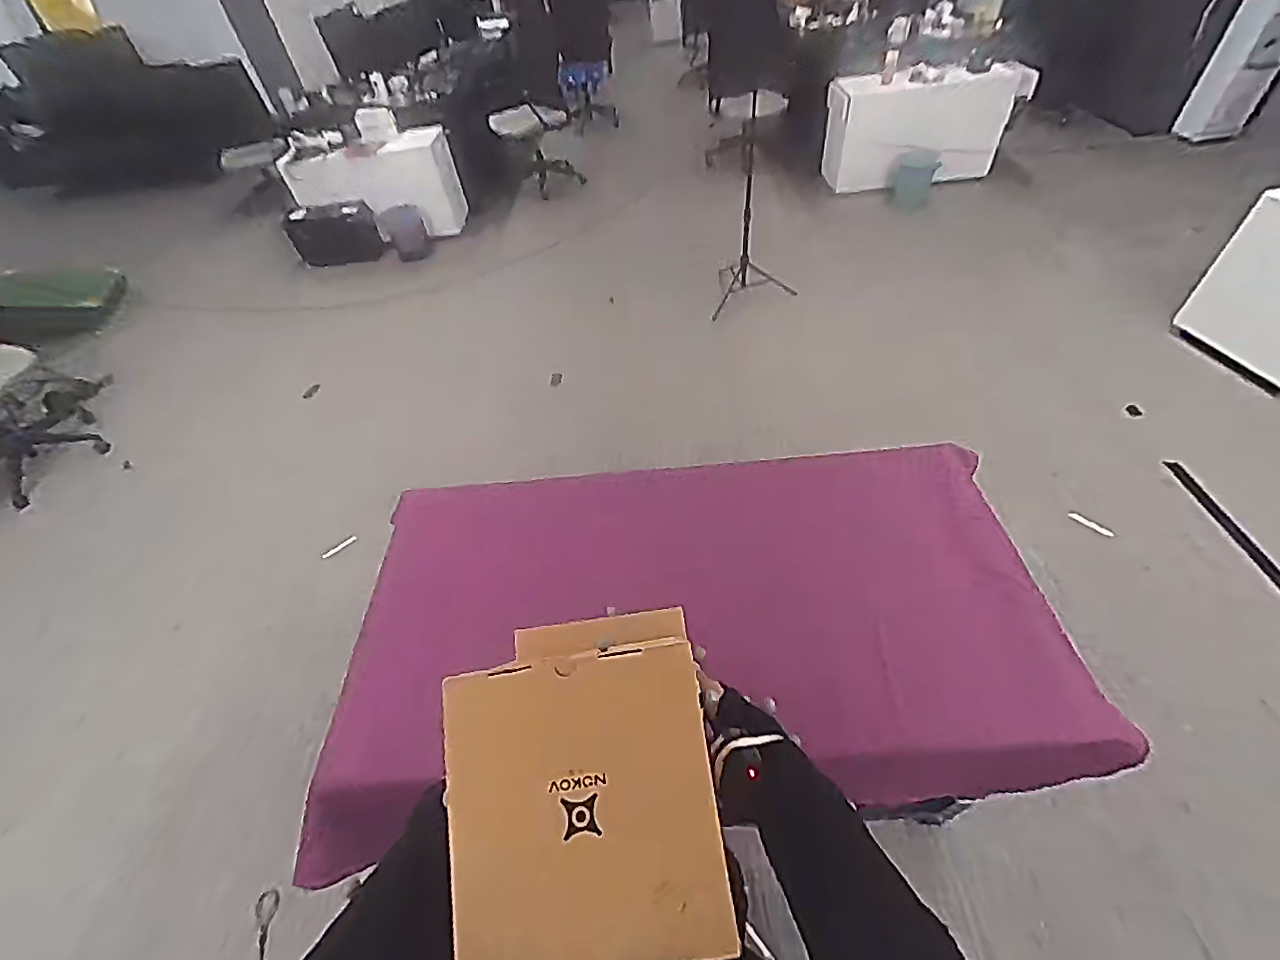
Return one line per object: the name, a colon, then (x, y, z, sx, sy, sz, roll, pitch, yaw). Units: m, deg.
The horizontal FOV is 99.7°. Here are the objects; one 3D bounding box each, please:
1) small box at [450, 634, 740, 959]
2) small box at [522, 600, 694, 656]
small box: (-0.028, 0.217, 0.408, 0.168, 0.176, 0.179, -9, 73, 1)
small box: (-0.021, 0.231, 0.574, 0.168, 0.176, 0.179, -8, 73, 1)
